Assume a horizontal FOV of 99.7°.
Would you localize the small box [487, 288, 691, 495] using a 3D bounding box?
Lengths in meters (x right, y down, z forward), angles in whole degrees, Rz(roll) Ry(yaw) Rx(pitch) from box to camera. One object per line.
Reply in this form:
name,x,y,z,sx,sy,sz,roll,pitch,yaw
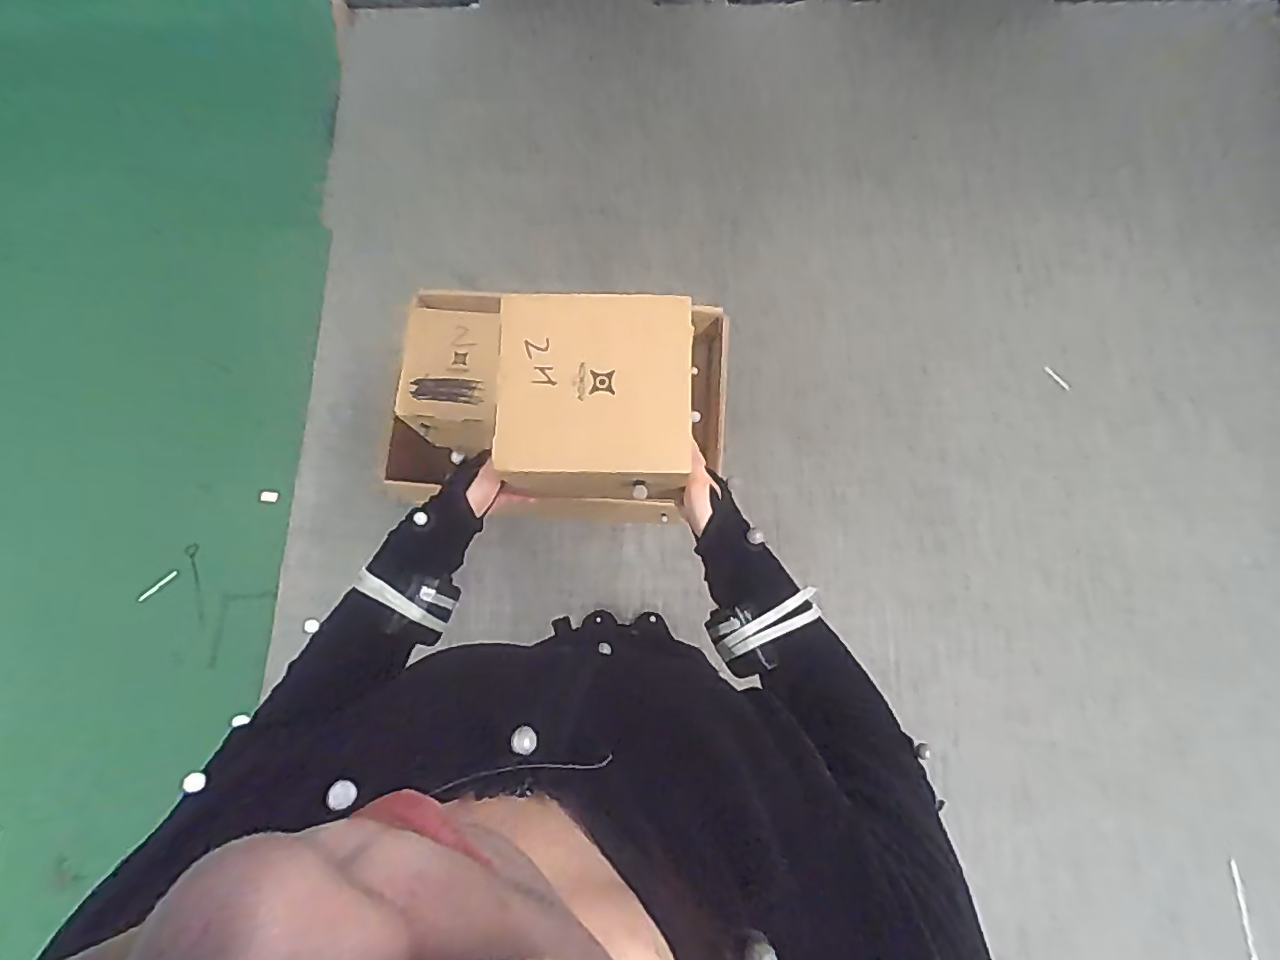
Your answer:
small box,-0.042,-0.078,0.555,0.179,0.176,0.168,1,80,2
